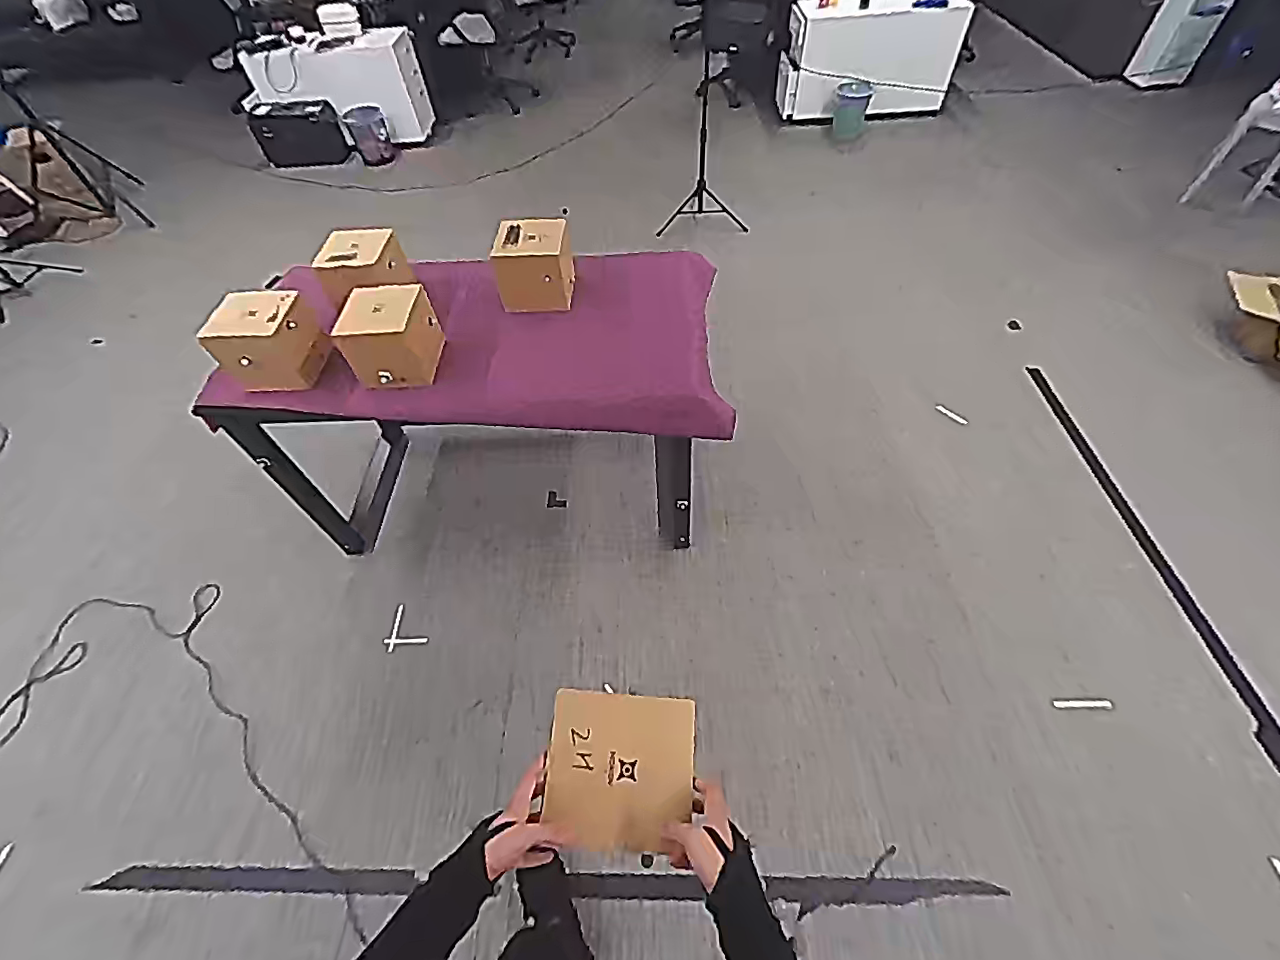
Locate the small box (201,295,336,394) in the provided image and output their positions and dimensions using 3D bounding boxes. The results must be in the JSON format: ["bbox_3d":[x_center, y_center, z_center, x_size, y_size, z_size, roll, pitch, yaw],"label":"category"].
[{"bbox_3d":[-0.880,-0.321,1.301,0.179,0.176,0.168,-2,54,3],"label":"small box"}]

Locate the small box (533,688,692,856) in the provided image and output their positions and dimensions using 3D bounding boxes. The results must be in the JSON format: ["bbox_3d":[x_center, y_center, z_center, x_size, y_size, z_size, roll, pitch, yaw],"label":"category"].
[{"bbox_3d":[-0.033,0.374,0.707,0.179,0.176,0.168,5,62,-2],"label":"small box"}]

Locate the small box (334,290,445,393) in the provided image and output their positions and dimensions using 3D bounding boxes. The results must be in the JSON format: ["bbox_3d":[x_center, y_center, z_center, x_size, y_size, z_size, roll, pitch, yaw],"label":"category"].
[{"bbox_3d":[-0.584,-0.329,1.291,0.168,0.176,0.179,-3,55,3],"label":"small box"}]

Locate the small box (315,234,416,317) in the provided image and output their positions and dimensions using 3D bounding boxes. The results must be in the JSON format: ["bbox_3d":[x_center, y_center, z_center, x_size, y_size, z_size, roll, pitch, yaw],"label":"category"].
[{"bbox_3d":[-0.727,-0.535,1.455,0.168,0.176,0.179,-2,53,2],"label":"small box"}]
